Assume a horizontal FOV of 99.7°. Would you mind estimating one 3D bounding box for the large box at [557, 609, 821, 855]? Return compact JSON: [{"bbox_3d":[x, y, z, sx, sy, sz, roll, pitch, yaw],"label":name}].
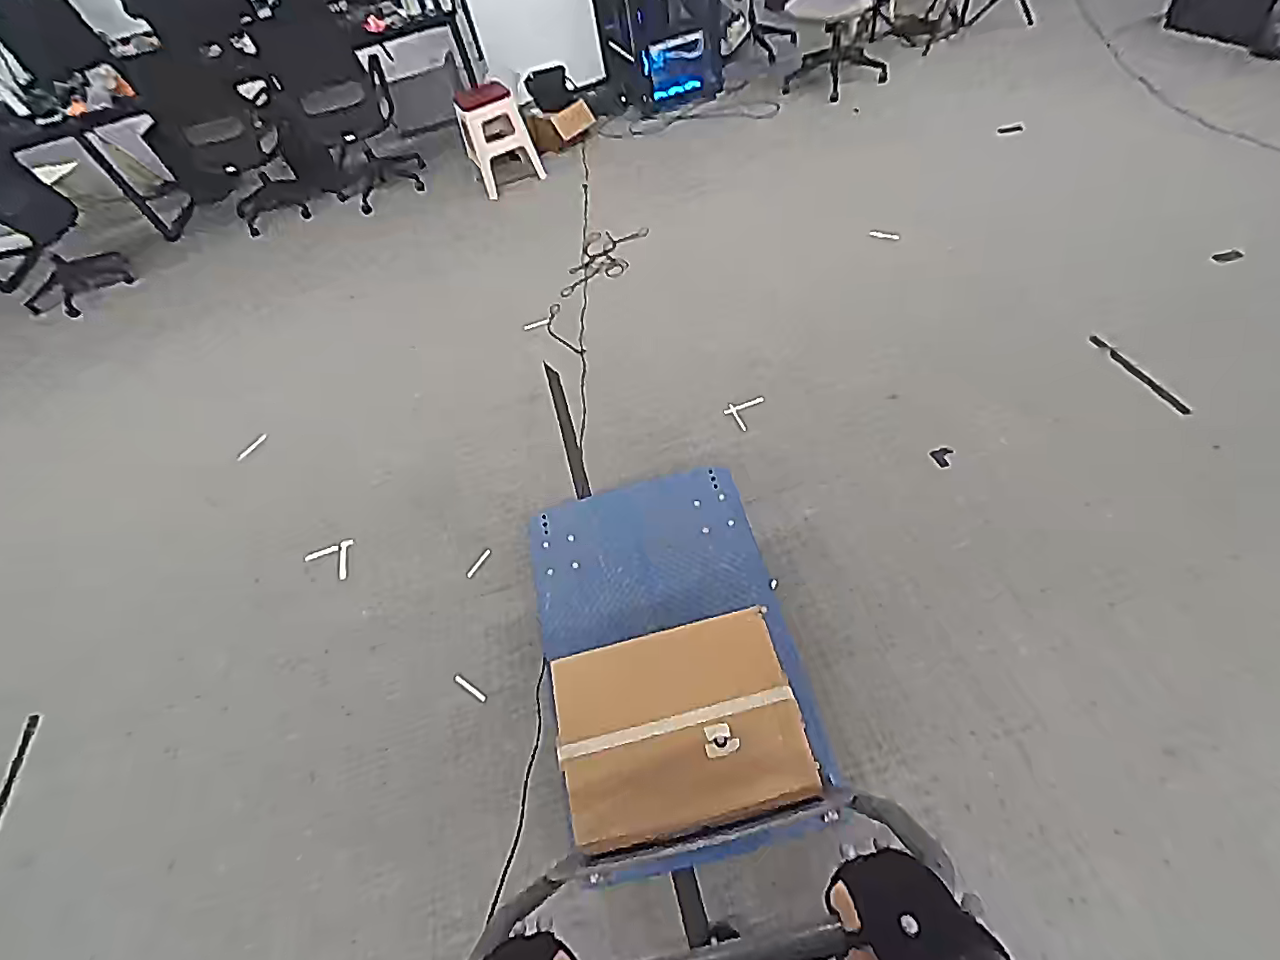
[{"bbox_3d":[0.086,0.497,1.068,0.408,0.320,0.320,-15,59,0],"label":"large box"}]
